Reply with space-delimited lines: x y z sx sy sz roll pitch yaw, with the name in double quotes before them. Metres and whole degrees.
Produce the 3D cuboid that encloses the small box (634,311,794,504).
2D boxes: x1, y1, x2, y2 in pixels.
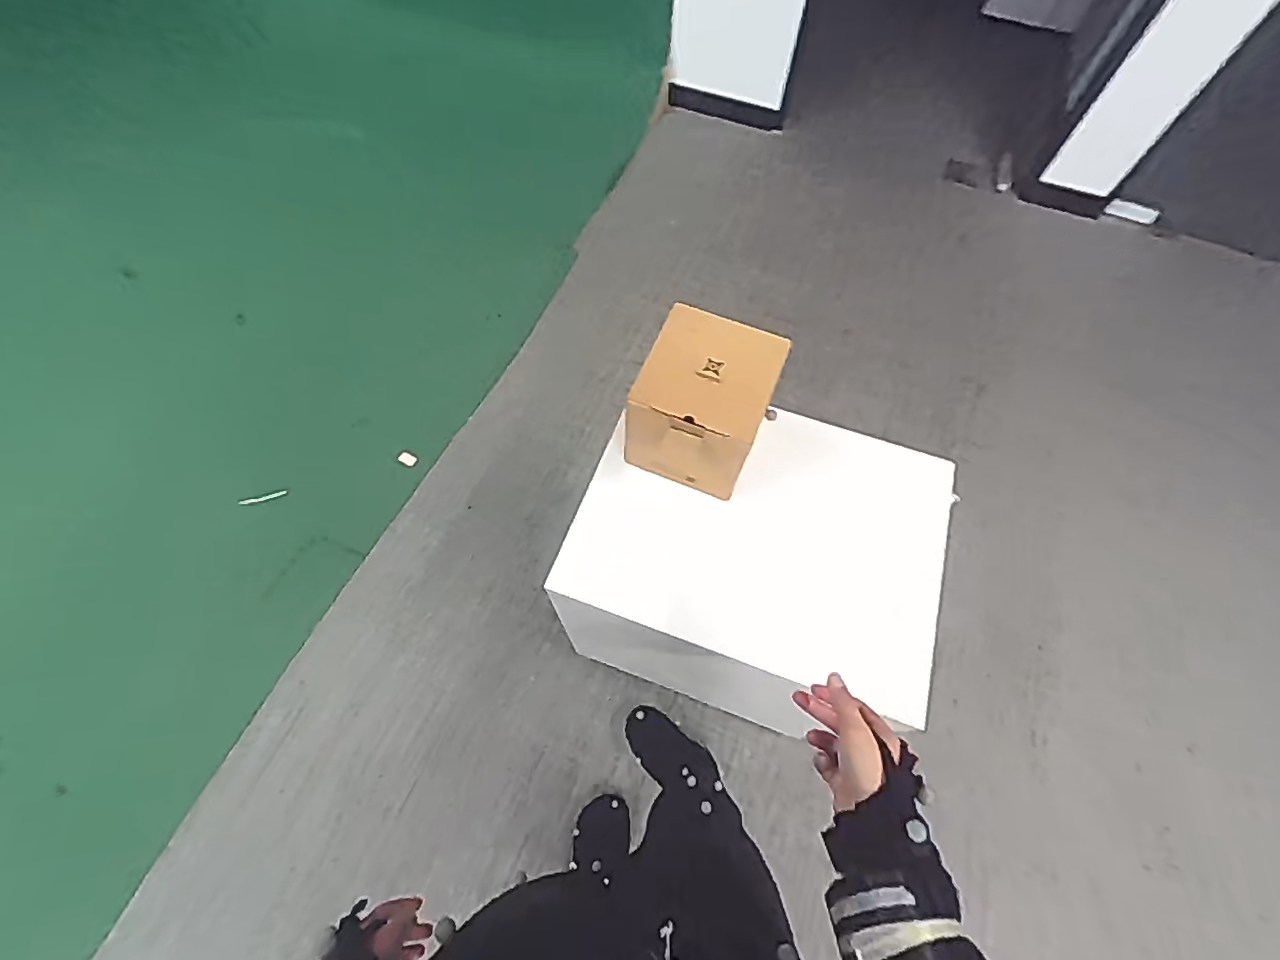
"small box" 0.095 -0.095 0.761 0.168 0.176 0.179 21 65 8
